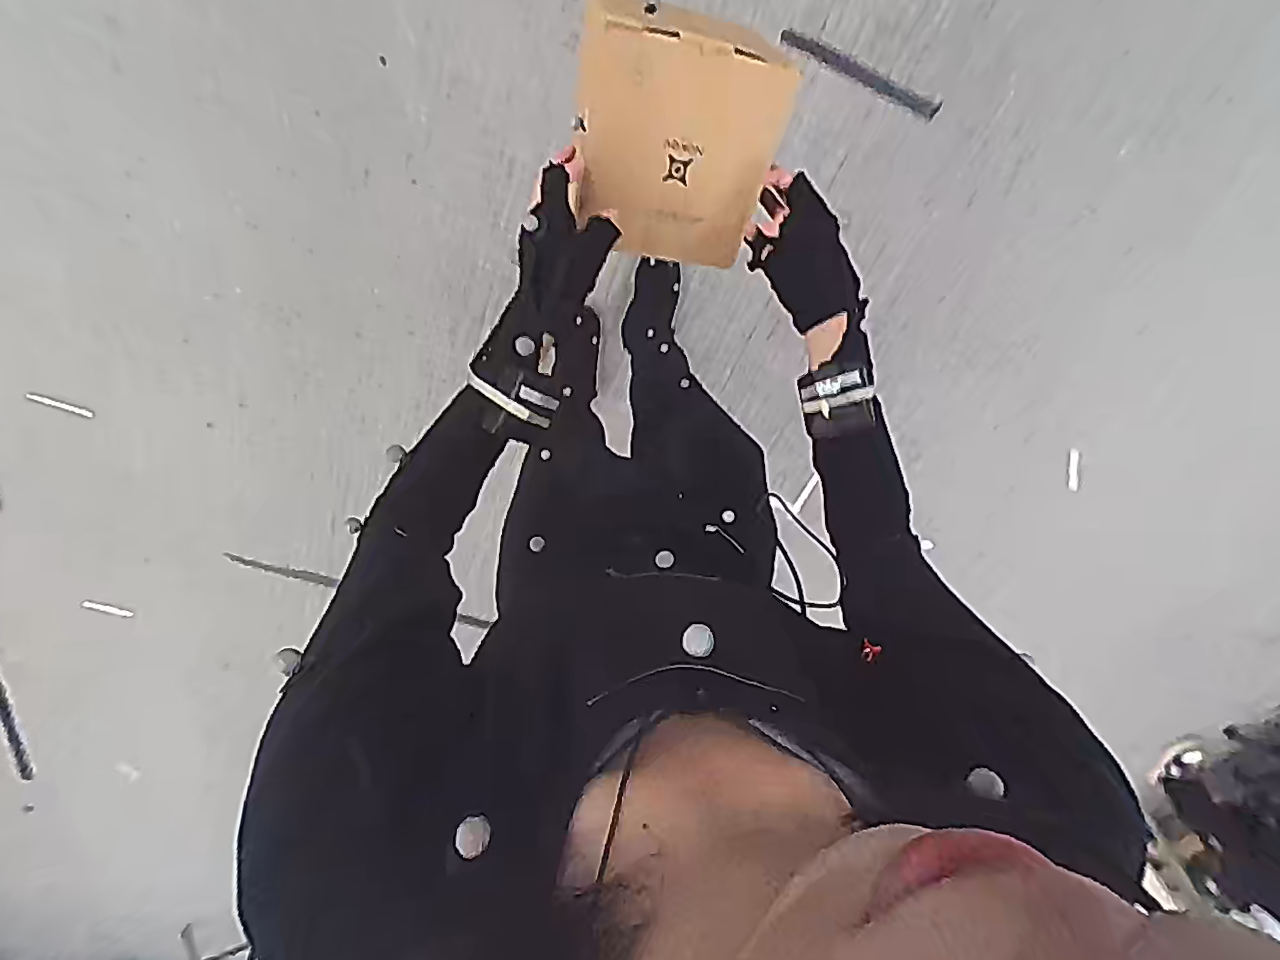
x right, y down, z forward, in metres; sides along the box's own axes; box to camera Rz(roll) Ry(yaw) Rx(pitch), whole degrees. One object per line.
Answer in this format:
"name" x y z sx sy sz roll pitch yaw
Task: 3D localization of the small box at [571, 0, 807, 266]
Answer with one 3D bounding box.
"small box" 0.026 -0.337 0.515 0.168 0.176 0.179 4 139 -13
